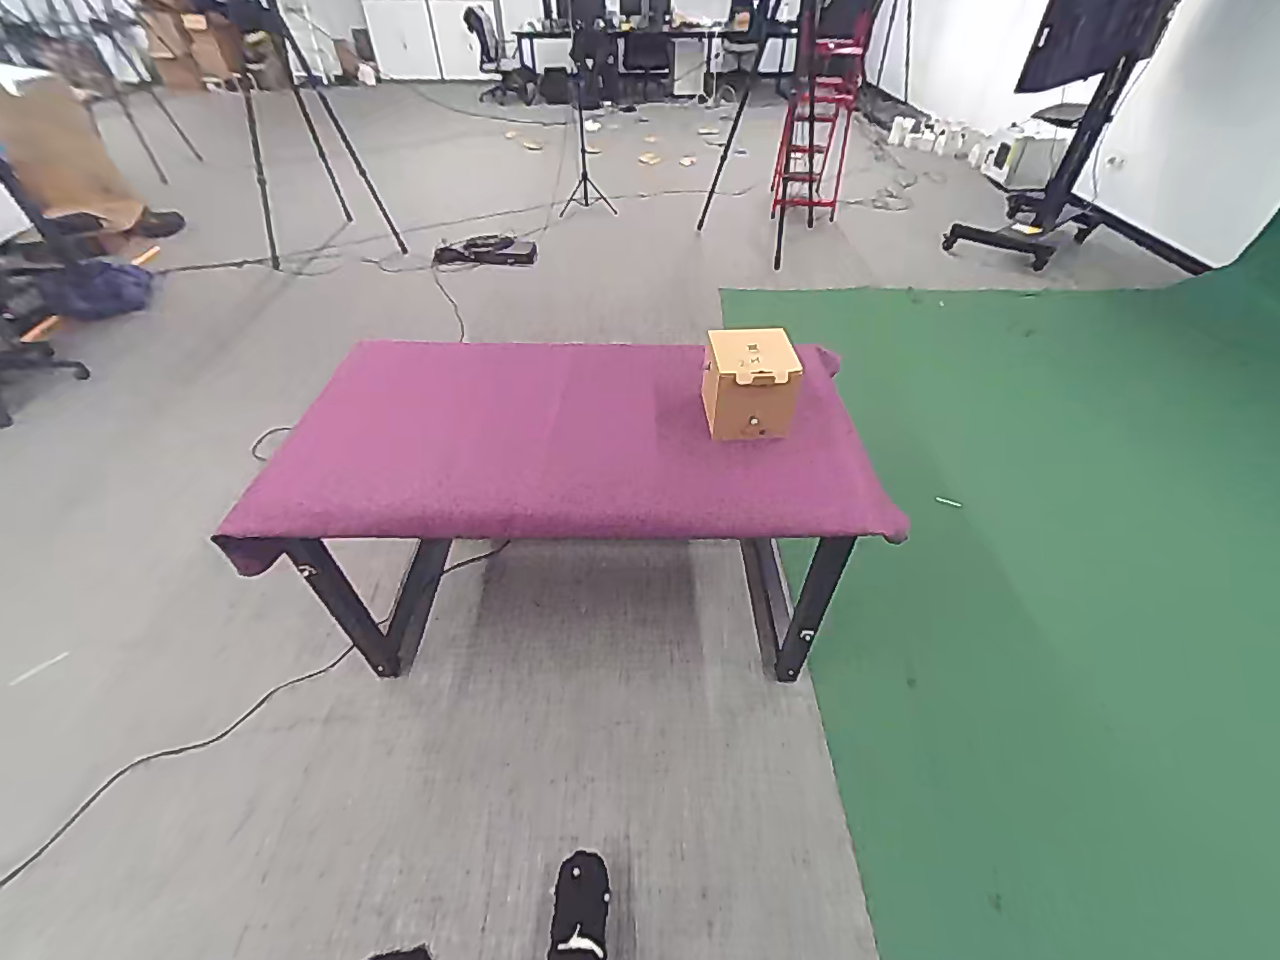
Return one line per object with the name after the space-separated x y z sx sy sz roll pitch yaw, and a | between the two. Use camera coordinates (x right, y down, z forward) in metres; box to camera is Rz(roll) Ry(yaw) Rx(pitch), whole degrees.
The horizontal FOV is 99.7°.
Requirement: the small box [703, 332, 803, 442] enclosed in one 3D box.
0.231 -0.199 1.157 0.168 0.176 0.179 -2 45 -1 | small box
